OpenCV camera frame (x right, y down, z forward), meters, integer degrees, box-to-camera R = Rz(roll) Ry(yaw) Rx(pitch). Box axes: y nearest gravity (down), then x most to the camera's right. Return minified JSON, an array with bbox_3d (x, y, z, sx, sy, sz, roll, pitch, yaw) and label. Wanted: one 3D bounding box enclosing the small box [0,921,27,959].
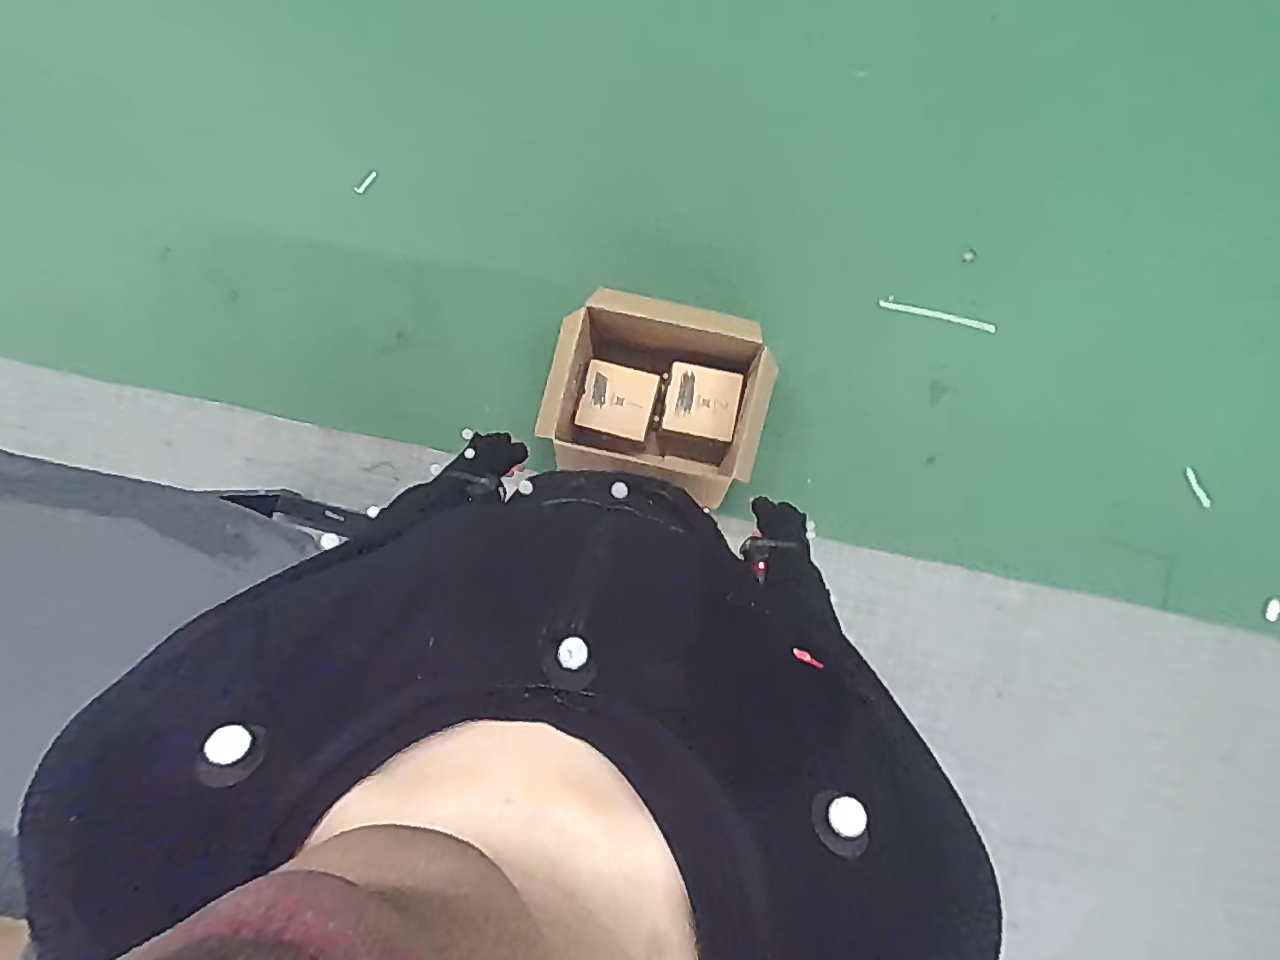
[{"bbox_3d":[-0.966,0.695,0.693,0.168,0.176,0.179,12,90,2],"label":"small box"}]
